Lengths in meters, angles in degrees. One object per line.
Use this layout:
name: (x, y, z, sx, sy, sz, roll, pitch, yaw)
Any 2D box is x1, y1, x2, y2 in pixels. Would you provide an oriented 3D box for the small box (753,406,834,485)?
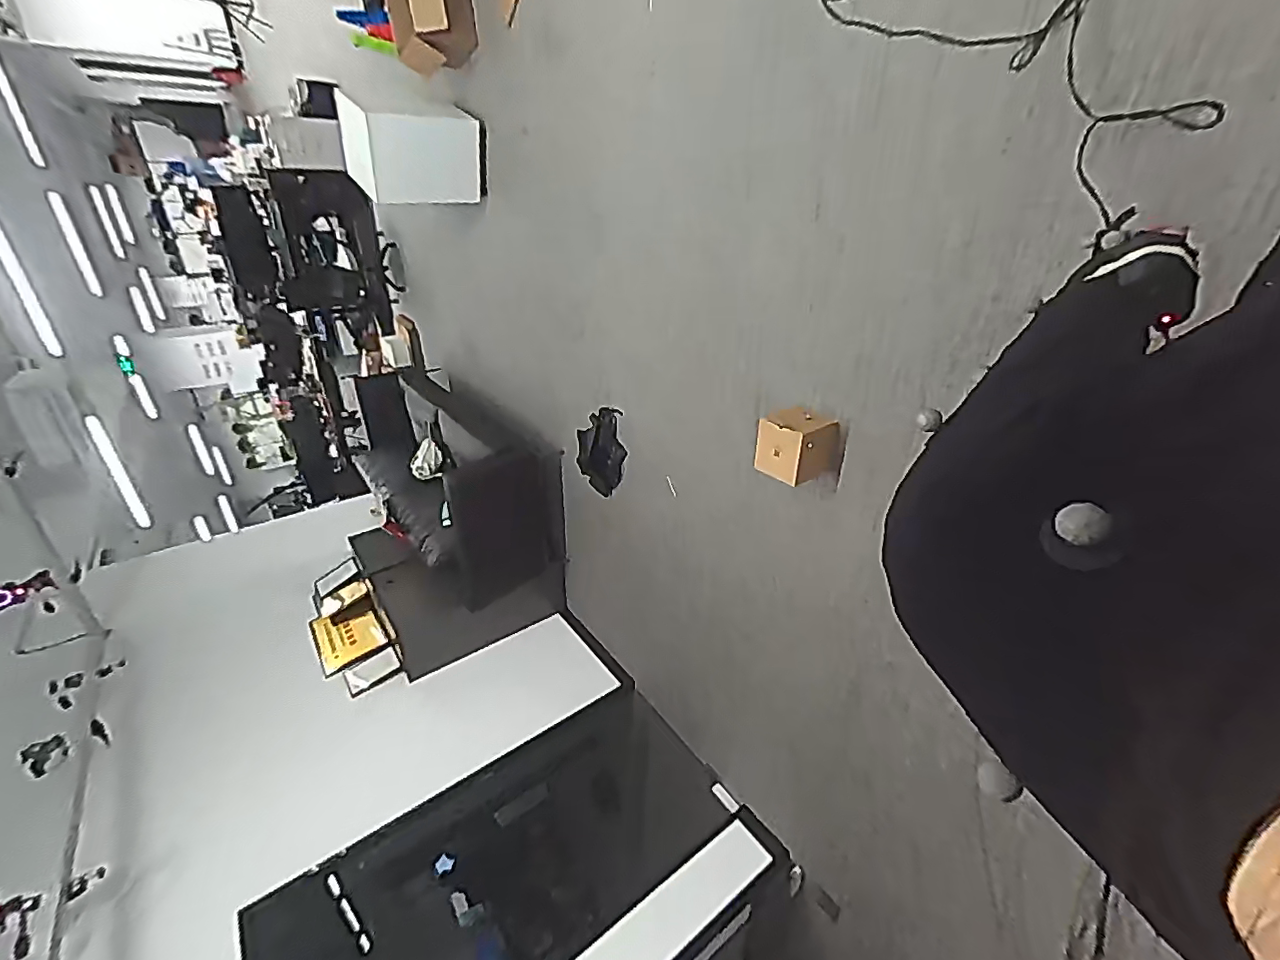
small box: (0.474, -0.110, 1.666, 0.168, 0.176, 0.179, 32, 131, 45)
